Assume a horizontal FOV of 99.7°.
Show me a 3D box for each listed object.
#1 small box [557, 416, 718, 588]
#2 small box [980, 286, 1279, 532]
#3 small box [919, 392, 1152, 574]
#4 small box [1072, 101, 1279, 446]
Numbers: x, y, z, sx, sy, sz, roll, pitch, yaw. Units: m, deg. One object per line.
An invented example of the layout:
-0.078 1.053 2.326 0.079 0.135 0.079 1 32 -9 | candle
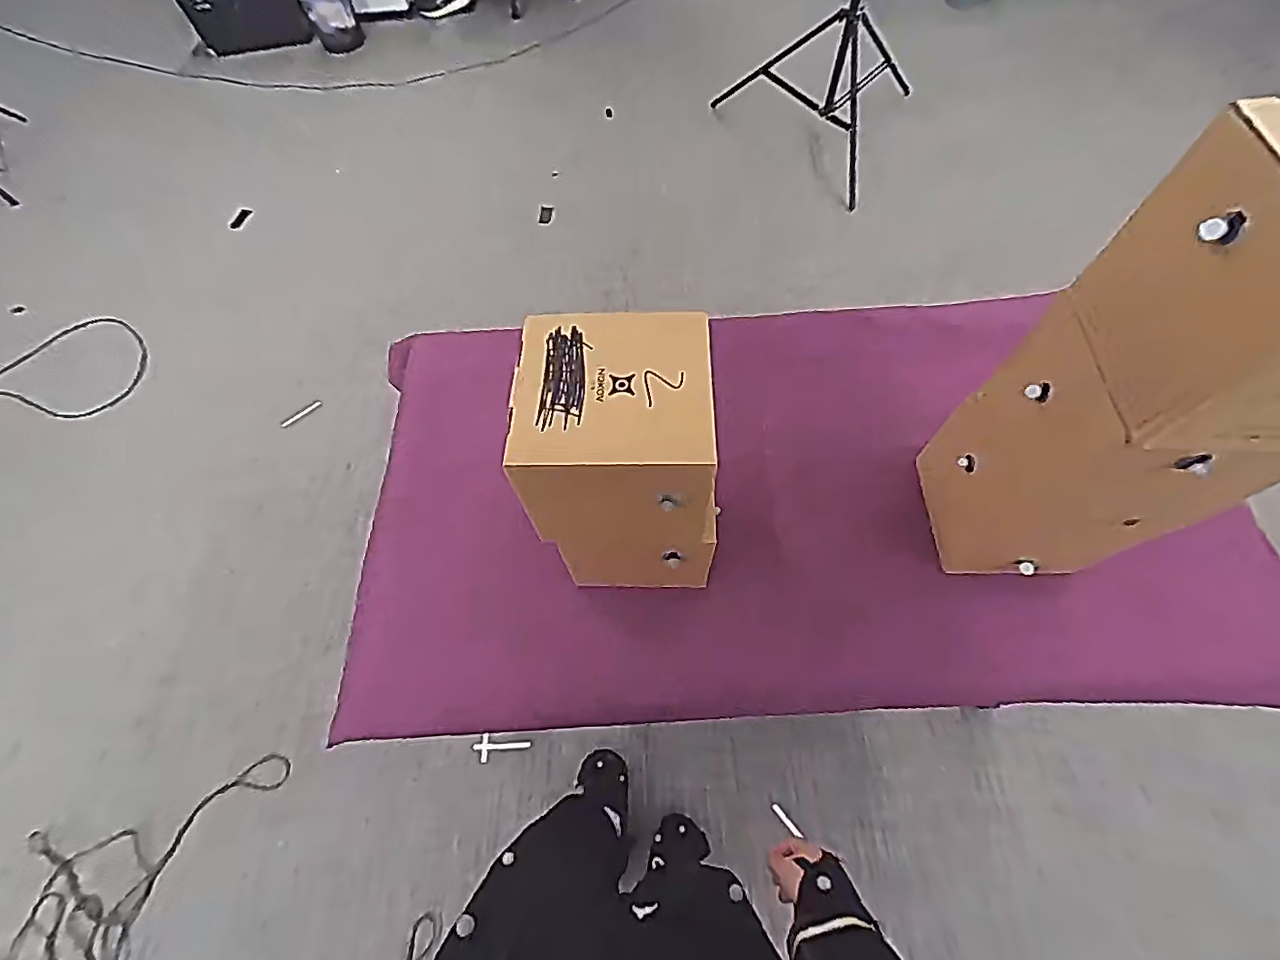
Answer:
0.002 0.034 0.686 0.179 0.176 0.168 0 62 3 | small box
0.471 -0.064 0.531 0.168 0.176 0.179 1 62 4 | small box
0.478 0.008 0.678 0.168 0.176 0.179 -1 63 3 | small box
0.465 -0.134 0.383 0.168 0.176 0.179 1 62 4 | small box
